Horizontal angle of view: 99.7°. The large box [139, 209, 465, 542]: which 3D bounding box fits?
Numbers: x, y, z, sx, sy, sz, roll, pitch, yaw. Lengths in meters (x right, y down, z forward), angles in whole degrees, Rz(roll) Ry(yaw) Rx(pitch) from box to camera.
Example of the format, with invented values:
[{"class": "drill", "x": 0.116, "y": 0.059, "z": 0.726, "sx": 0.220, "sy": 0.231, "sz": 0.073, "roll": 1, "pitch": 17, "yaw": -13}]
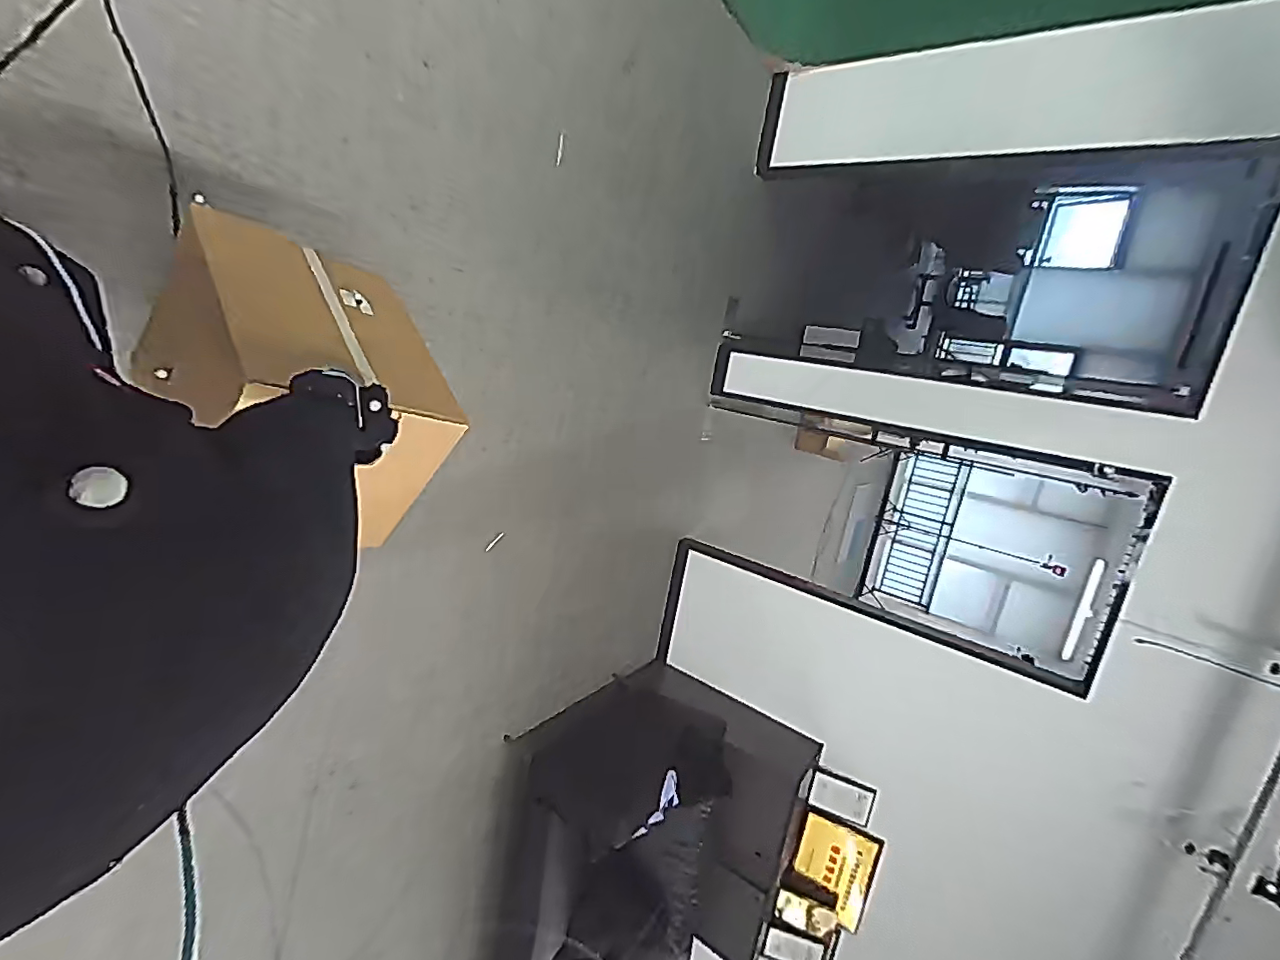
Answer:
[{"class": "large box", "x": -0.567, "y": -0.147, "z": 0.897, "sx": 0.320, "sy": 0.408, "sz": 0.320, "roll": -47, "pitch": 152, "yaw": 21}]
